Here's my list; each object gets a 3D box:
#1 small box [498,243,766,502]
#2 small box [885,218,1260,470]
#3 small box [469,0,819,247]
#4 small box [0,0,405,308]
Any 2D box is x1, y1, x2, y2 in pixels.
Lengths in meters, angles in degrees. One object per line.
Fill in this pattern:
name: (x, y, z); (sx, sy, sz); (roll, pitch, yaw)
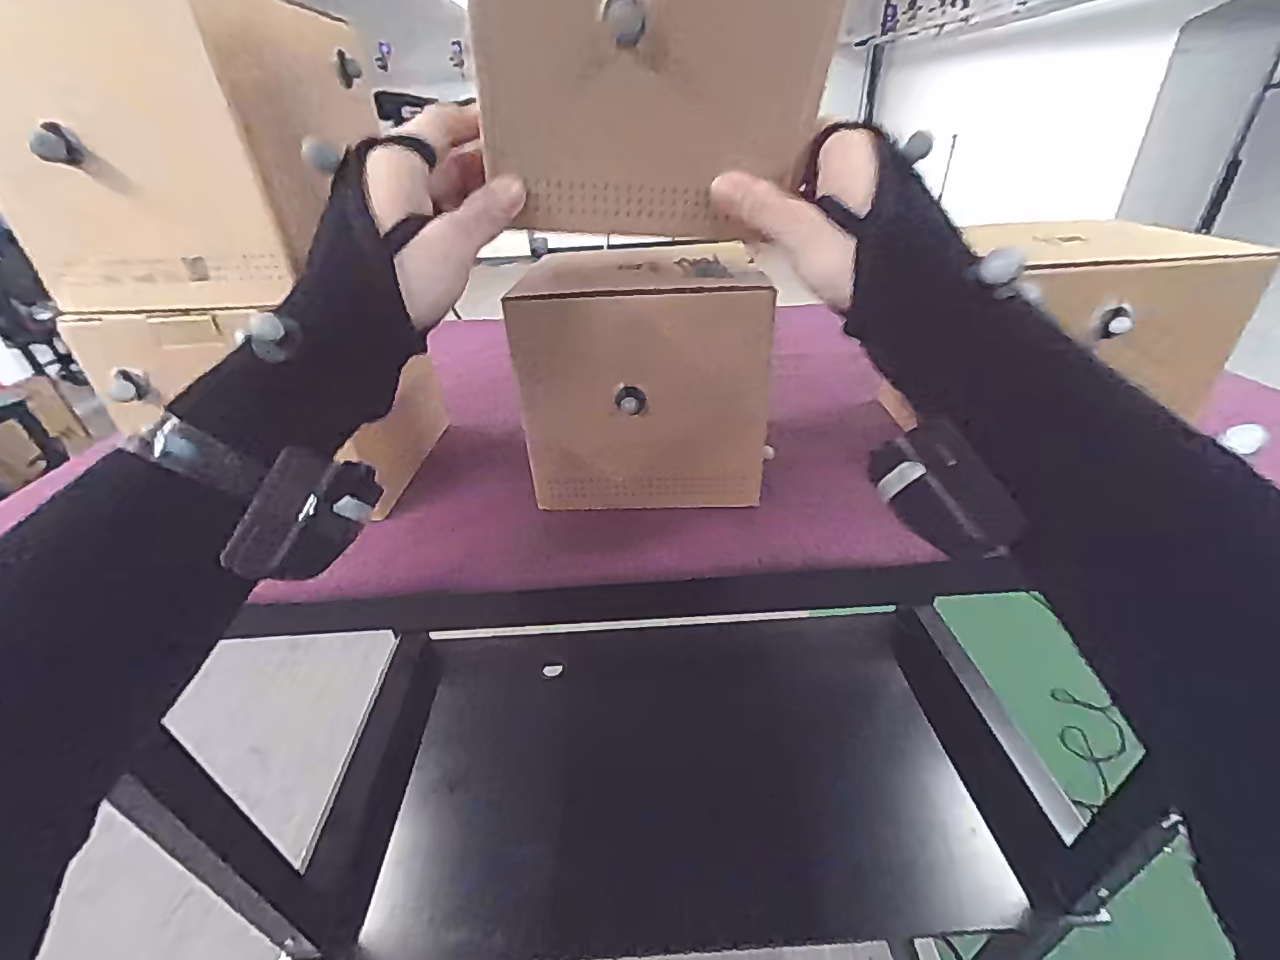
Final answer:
small box: (0.002, -0.093, 0.456); (0.179, 0.176, 0.168); (-2, 32, 5)
small box: (0.325, -0.118, 0.462); (0.179, 0.176, 0.168); (-1, 33, 5)
small box: (-0.001, -0.255, 0.327); (0.179, 0.176, 0.168); (-1, 46, -4)
small box: (-0.294, -0.224, 0.385); (0.168, 0.176, 0.179); (-1, 31, 4)
